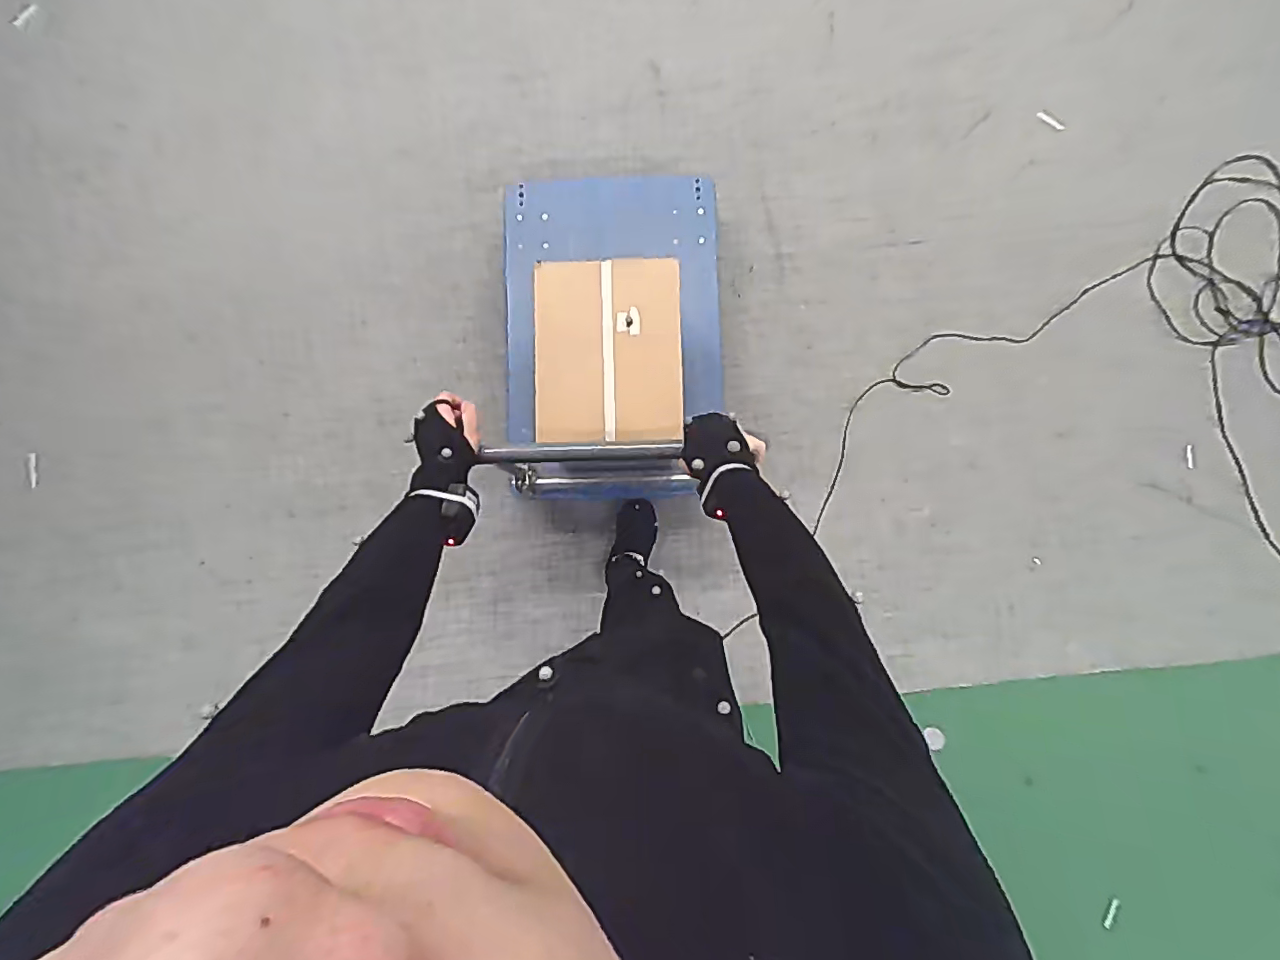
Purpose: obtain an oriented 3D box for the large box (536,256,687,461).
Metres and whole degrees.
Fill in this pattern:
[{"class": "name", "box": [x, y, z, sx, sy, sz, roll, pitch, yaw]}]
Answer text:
[{"class": "large box", "box": [-0.059, -0.263, 1.288, 0.320, 0.320, 0.408, -1, 87, 0]}]
